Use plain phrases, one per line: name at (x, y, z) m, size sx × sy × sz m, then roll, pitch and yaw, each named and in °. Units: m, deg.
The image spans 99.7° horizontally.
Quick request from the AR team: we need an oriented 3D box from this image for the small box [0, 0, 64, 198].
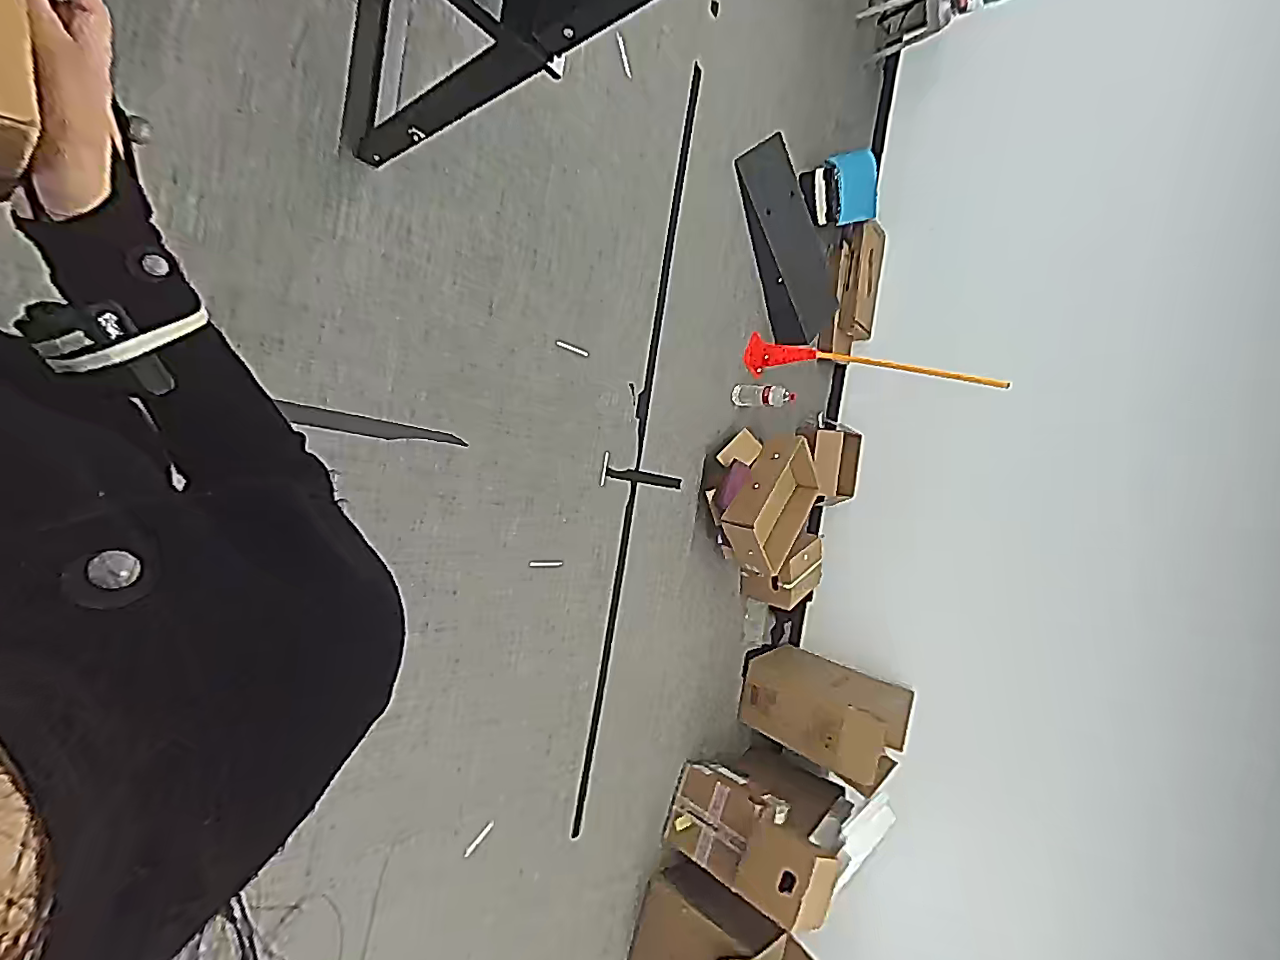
small box at (-0.354, -0.235, 0.204) m, size 0.168 × 0.176 × 0.179 m, roll -7°, pitch 104°, yaw -51°
